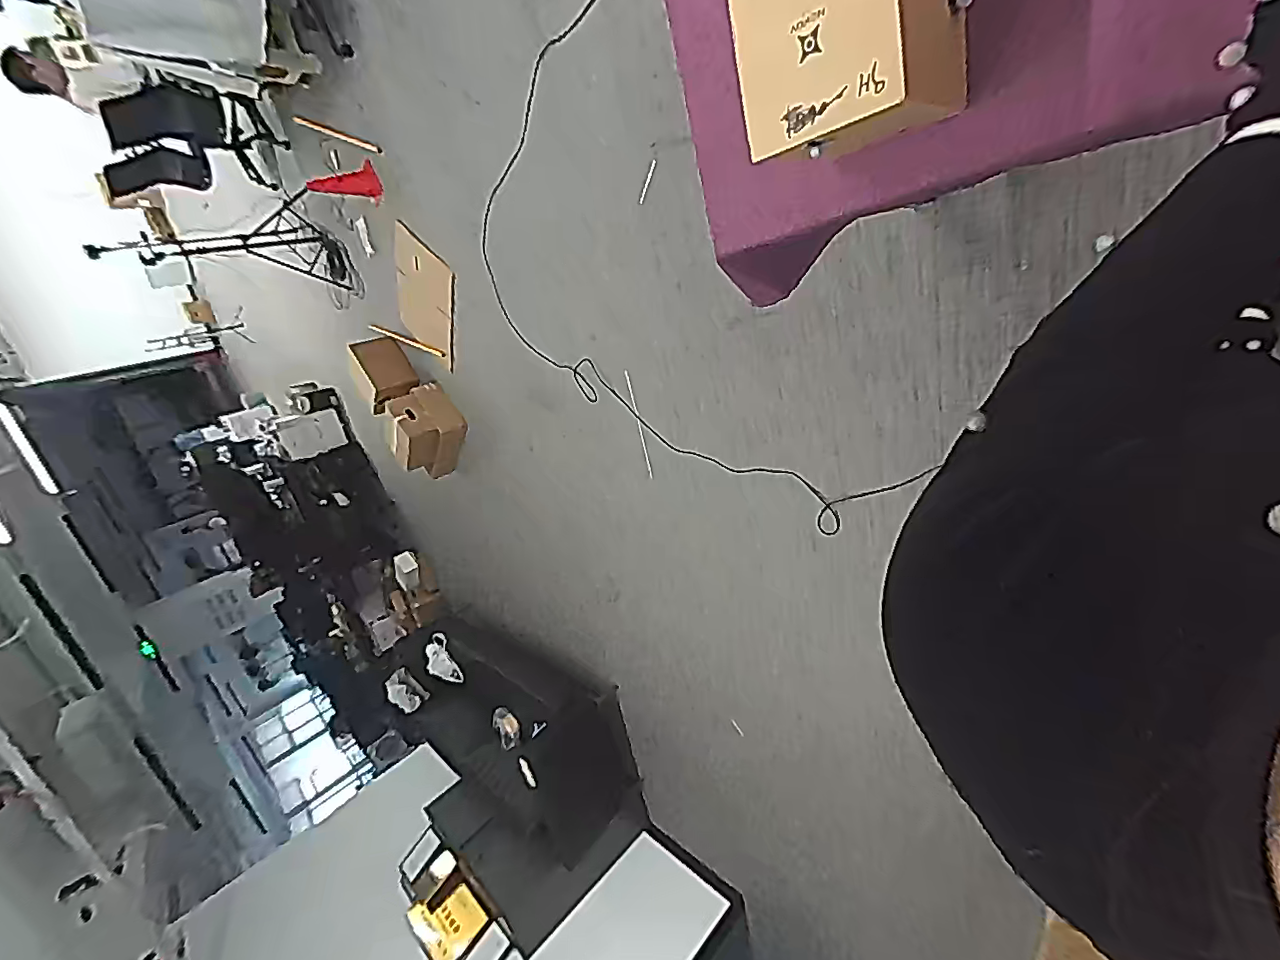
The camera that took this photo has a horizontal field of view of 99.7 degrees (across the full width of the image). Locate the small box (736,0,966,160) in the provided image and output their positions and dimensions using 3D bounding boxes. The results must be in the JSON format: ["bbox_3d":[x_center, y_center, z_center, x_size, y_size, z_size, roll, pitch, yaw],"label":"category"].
[{"bbox_3d":[0.222,-0.455,0.565,0.168,0.176,0.179,9,118,47],"label":"small box"}]
